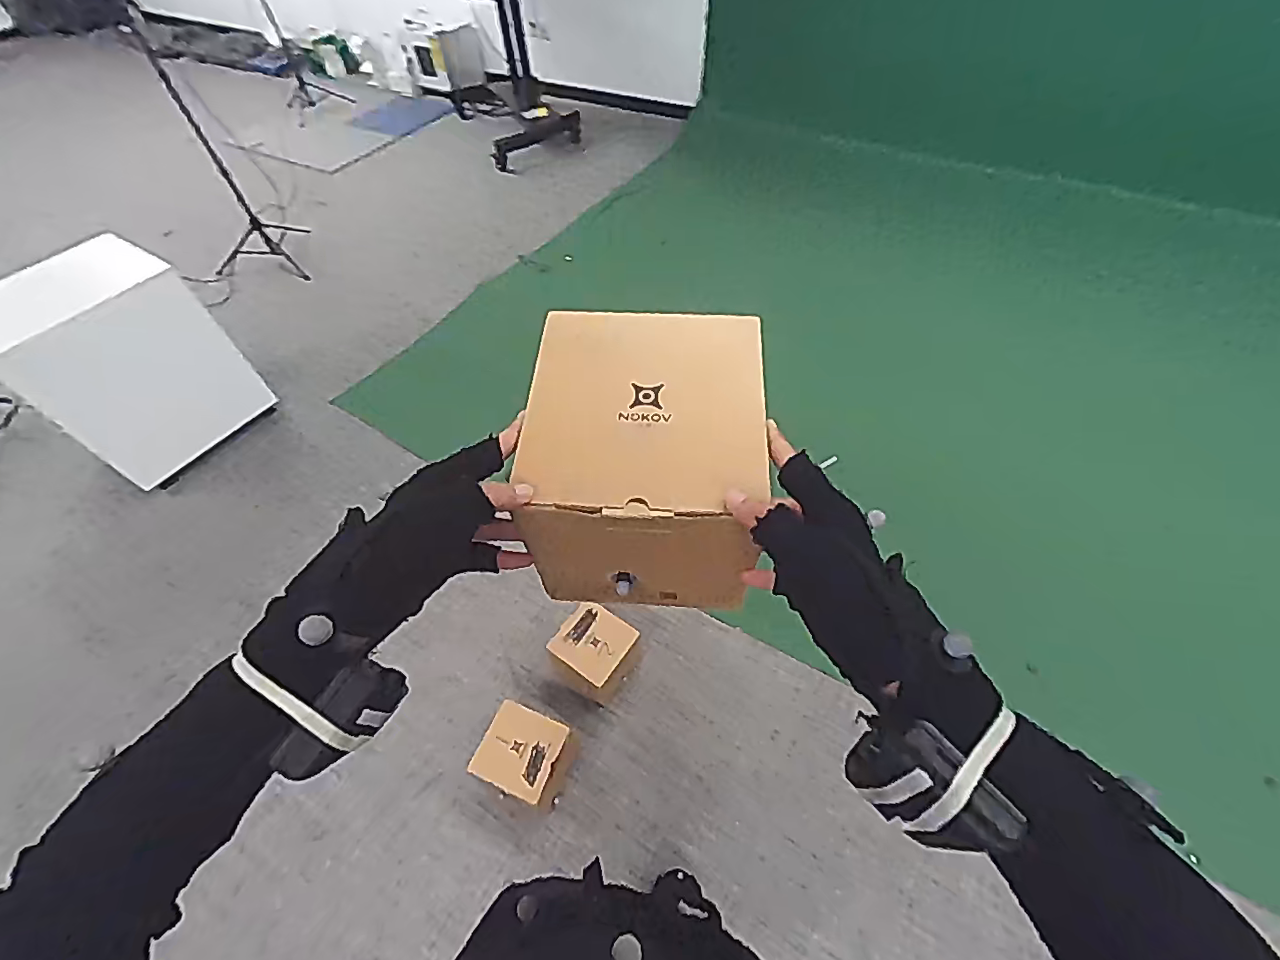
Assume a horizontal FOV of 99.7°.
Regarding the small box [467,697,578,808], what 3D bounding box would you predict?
[{"bbox_3d":[-0.260,0.633,1.248,0.179,0.176,0.168,17,55,16],"label":"small box"}]
